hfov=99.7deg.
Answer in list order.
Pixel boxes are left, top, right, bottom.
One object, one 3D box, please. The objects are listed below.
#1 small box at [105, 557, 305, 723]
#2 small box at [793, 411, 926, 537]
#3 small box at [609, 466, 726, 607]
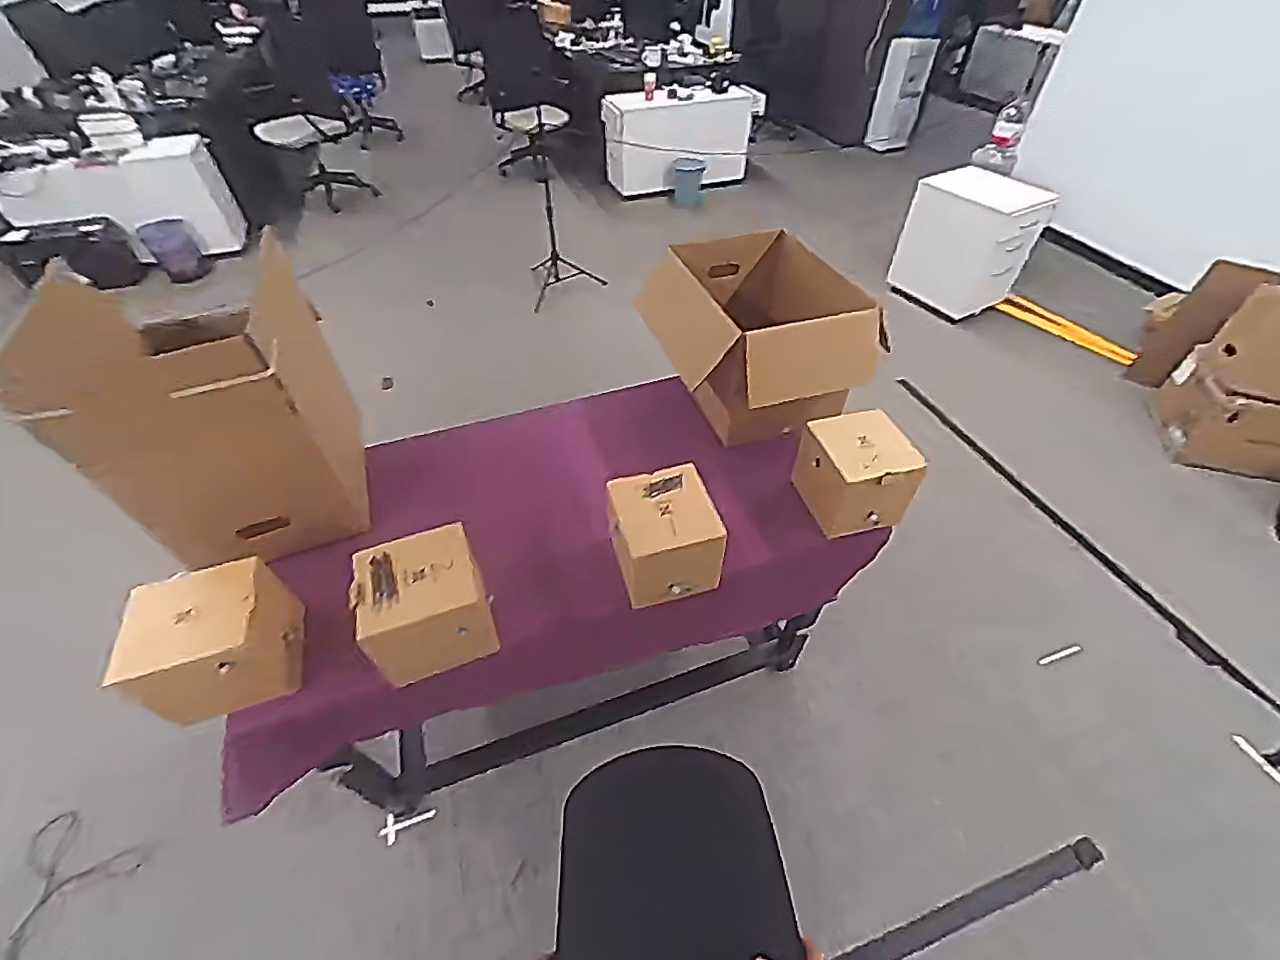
[{"bbox_3d":[-0.666,0.256,0.855,0.179,0.176,0.168,-15,49,-15],"label":"small box"},{"bbox_3d":[0.429,-0.012,1.092,0.168,0.176,0.179,-11,48,-8],"label":"small box"},{"bbox_3d":[0.042,0.104,0.991,0.168,0.176,0.179,-13,49,-10],"label":"small box"}]
